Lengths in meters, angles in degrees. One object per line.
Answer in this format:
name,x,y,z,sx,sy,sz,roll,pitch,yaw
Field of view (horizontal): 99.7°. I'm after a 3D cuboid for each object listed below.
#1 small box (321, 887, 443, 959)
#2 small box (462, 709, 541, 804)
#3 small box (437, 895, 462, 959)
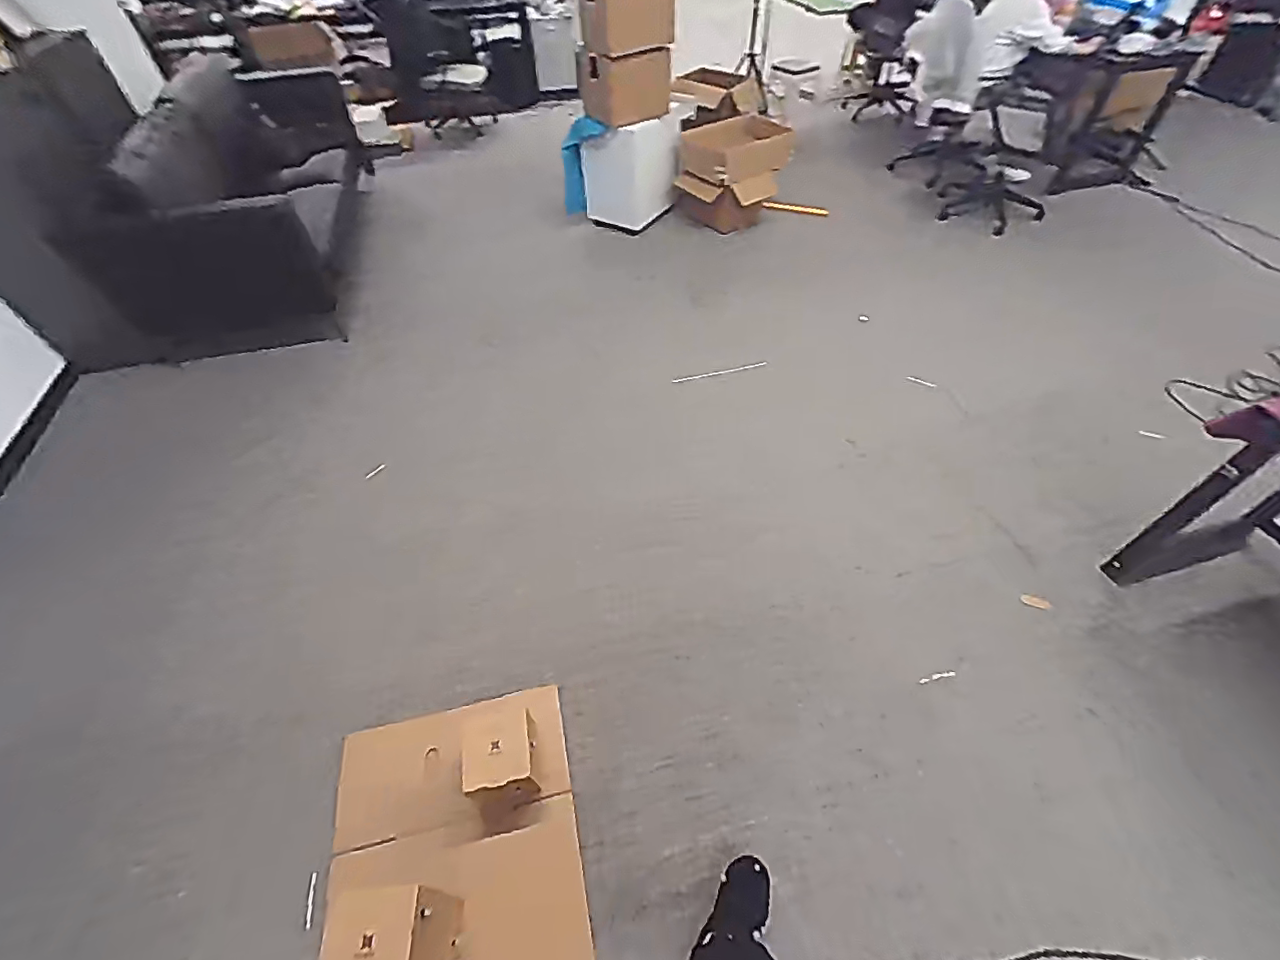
small box,-0.492,0.906,1.039,0.168,0.176,0.179,-6,50,-2
small box,-0.358,0.725,1.408,0.168,0.176,0.179,-10,50,-7
small box,-0.493,1.017,1.162,0.168,0.176,0.179,-5,49,-2
